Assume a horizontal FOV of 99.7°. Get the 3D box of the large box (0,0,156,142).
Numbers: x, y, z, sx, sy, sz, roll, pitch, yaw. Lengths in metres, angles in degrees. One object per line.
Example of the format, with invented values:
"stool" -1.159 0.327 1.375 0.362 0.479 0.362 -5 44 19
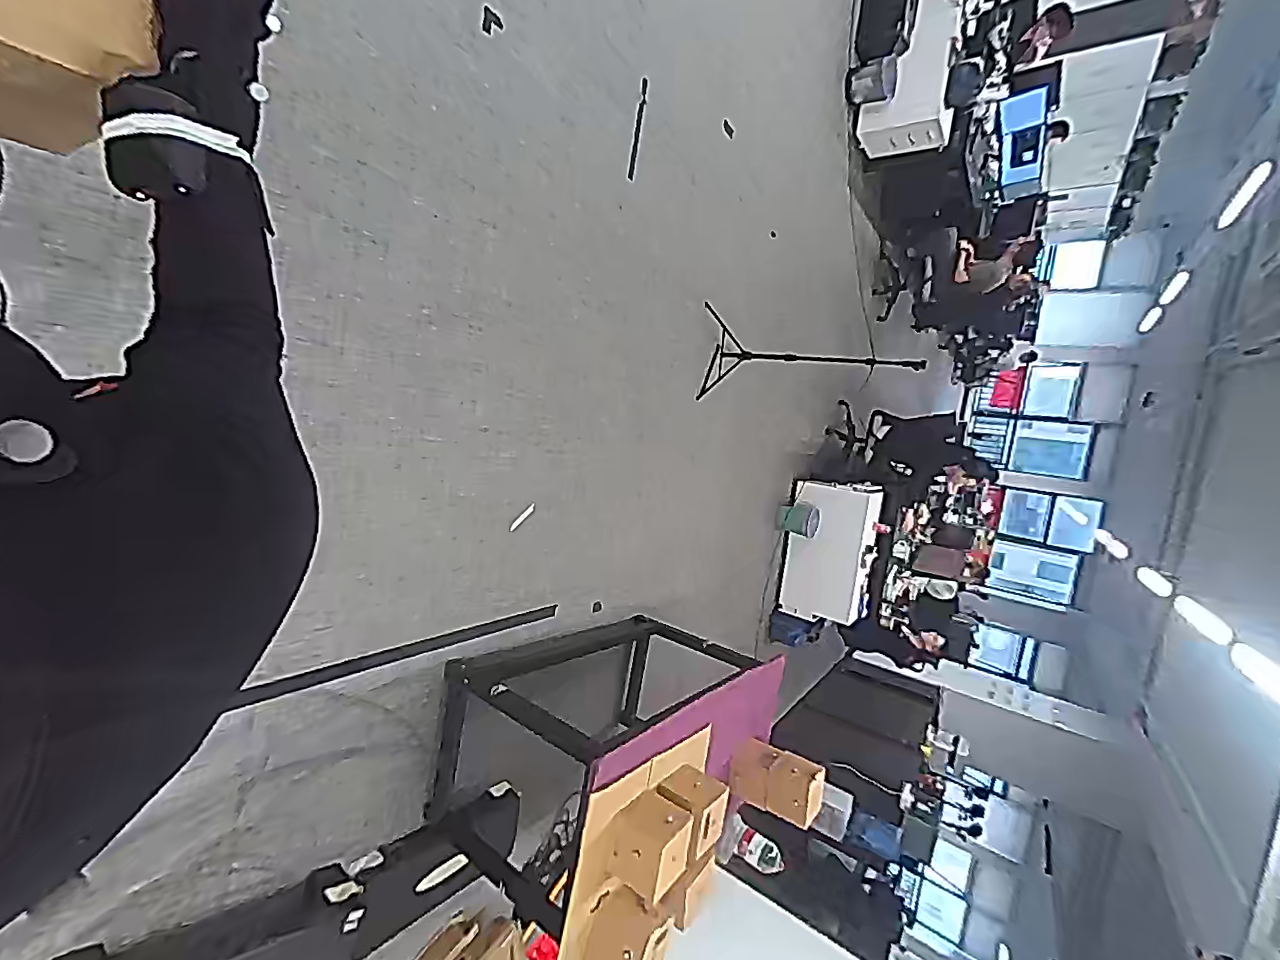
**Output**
"large box" -0.572 -0.452 0.292 0.408 0.320 0.320 -5 107 -56
